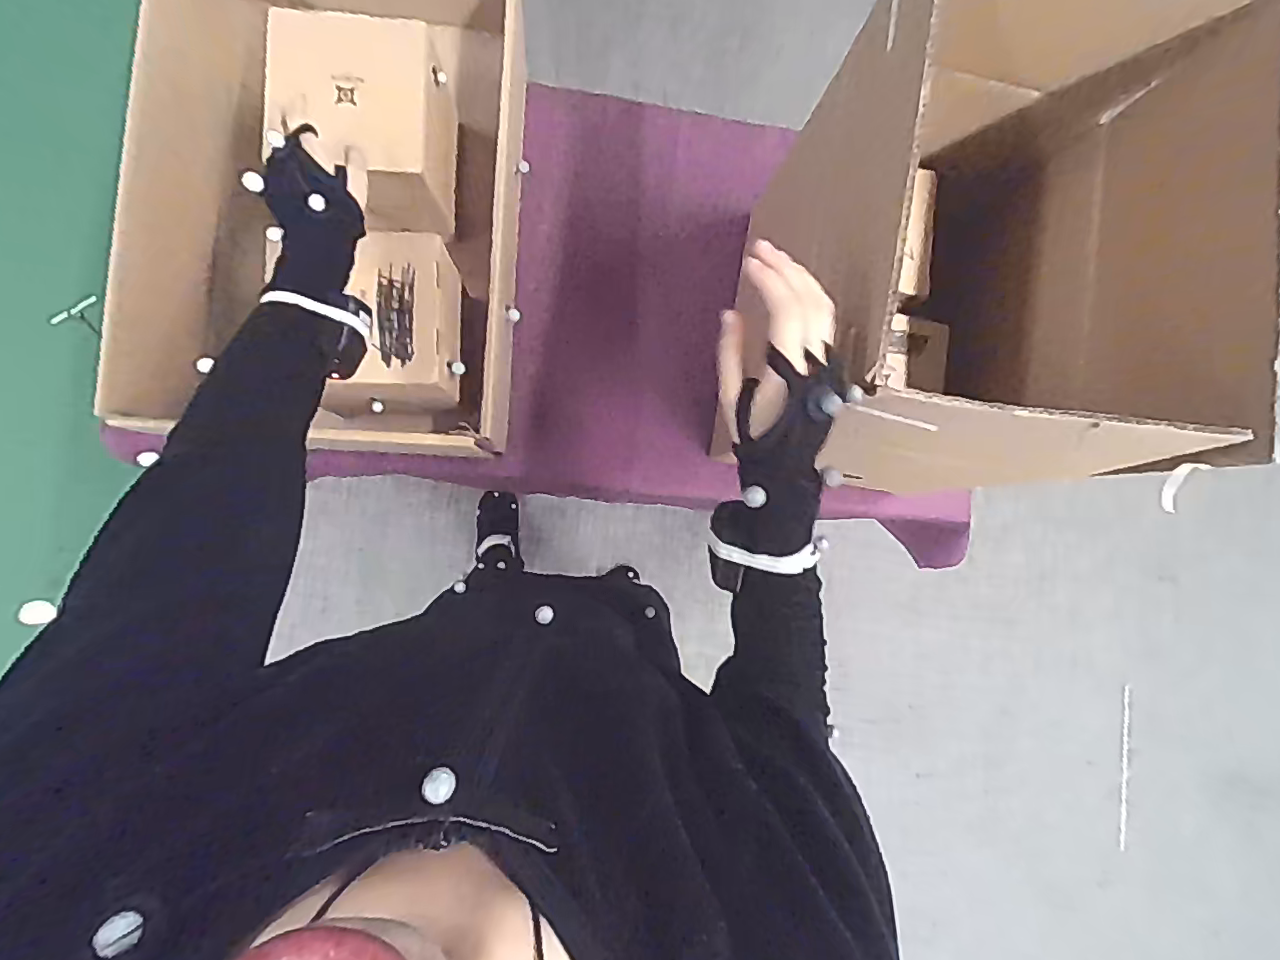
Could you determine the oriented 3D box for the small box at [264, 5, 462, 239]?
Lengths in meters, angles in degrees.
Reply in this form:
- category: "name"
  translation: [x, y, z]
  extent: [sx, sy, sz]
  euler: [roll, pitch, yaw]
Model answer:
- category: "small box"
  translation: [-0.322, -0.418, 0.662]
  extent: [0.168, 0.176, 0.179]
  euler: [1, 87, -5]
